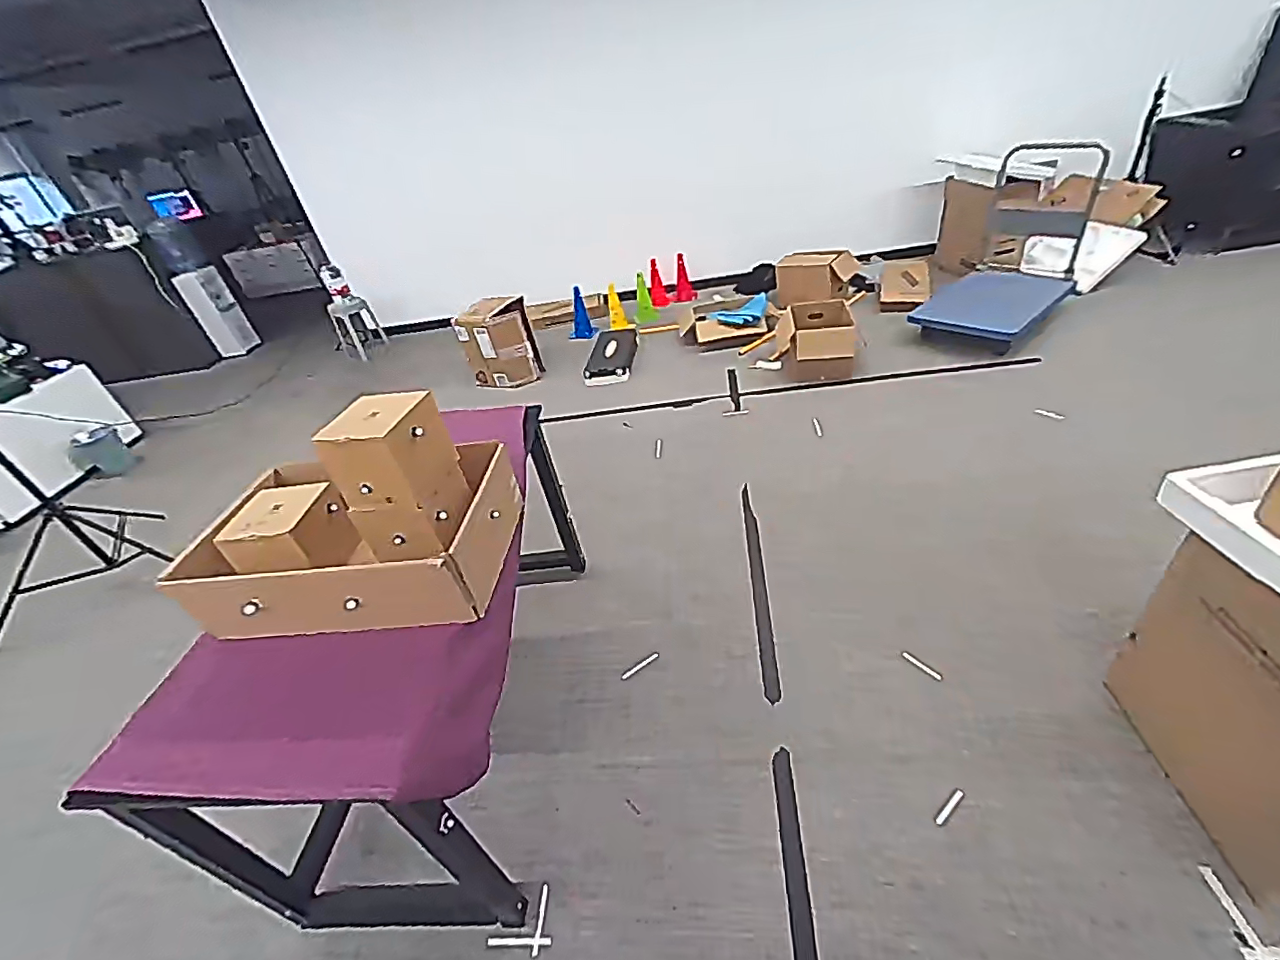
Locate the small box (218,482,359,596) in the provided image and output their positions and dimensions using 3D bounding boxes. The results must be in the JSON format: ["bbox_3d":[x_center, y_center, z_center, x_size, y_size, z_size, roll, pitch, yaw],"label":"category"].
[{"bbox_3d":[-0.747,0.128,1.176,0.168,0.176,0.179,-7,36,5],"label":"small box"}]
